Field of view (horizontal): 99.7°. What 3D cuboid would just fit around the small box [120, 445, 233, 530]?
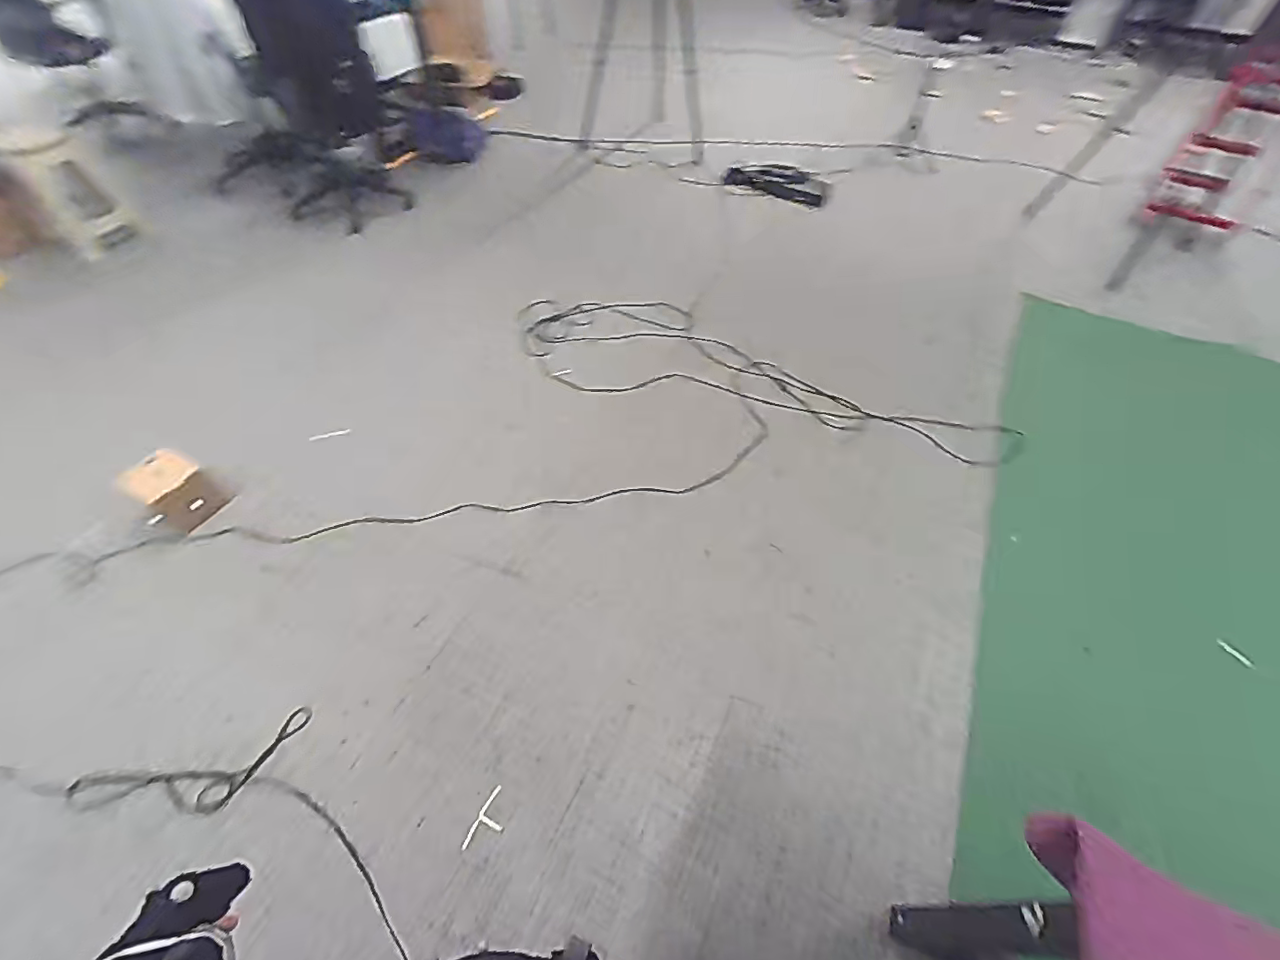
[{"bbox_3d":[-1.432,0.030,1.684,0.179,0.176,0.168,26,55,16],"label":"small box"}]
